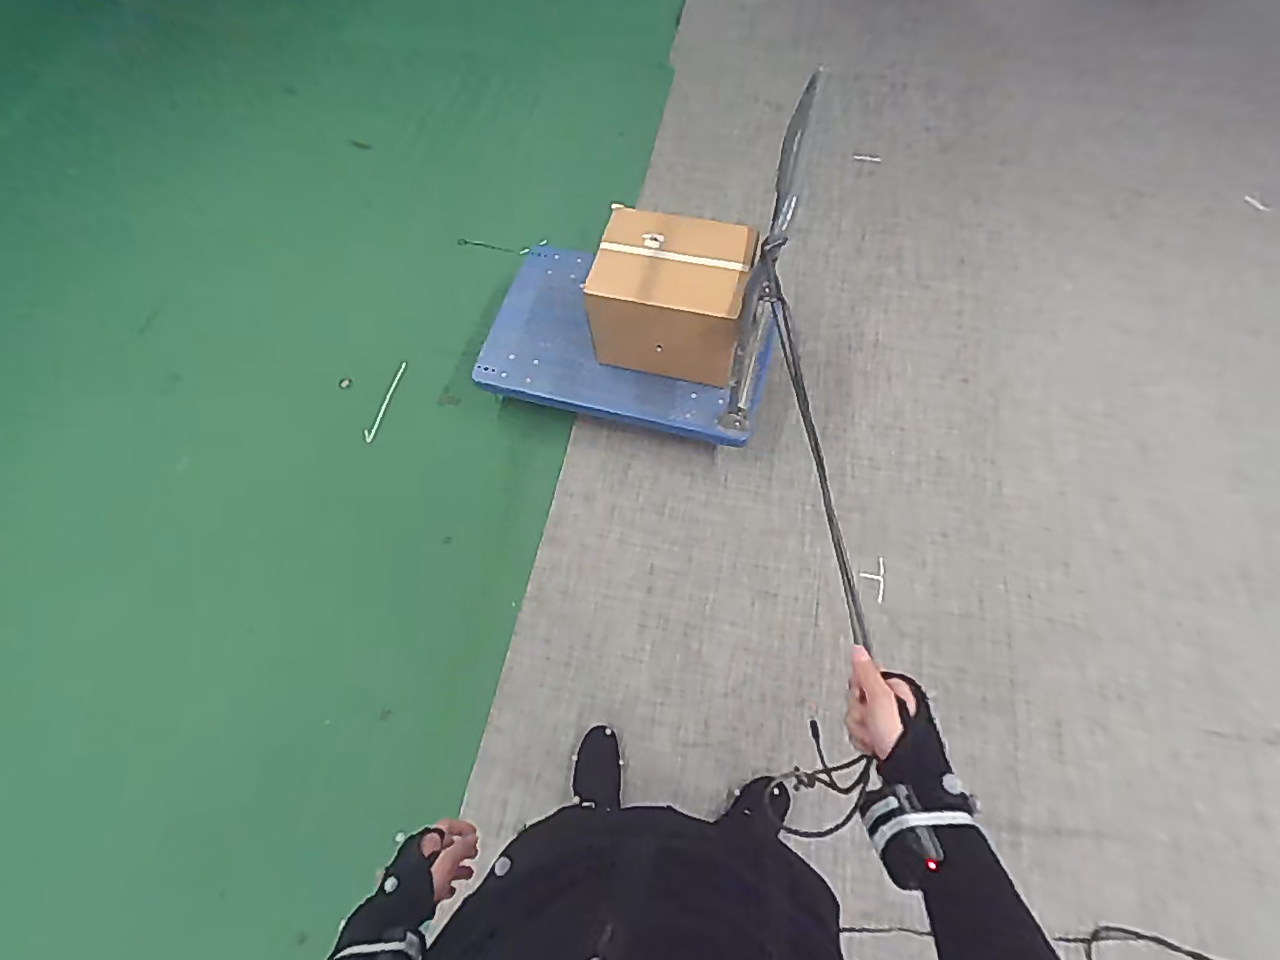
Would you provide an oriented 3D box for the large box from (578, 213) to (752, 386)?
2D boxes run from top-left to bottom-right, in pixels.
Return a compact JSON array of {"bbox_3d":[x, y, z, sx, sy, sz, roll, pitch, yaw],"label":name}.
[{"bbox_3d":[0.081,-0.503,1.539,0.408,0.320,0.320,12,67,9],"label":"large box"}]
